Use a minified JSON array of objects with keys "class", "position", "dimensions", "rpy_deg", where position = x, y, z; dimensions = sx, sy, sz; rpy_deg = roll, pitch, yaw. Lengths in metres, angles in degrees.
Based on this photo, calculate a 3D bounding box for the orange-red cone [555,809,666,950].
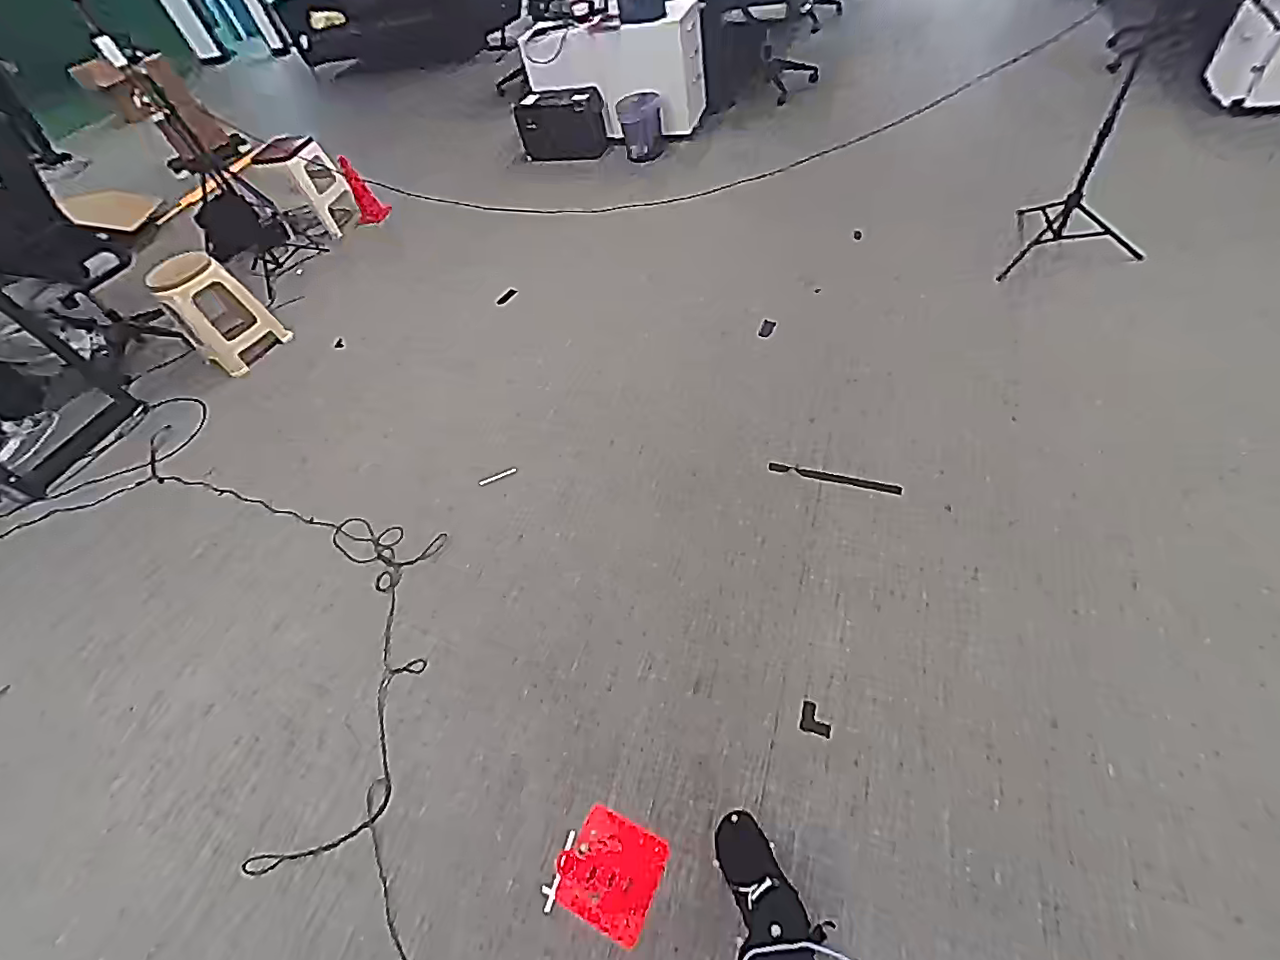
[{"class":"orange-red cone","position":[-0.091,0.747,1.027],"dimensions":[0.199,0.360,0.198],"rpy_deg":[18,59,23]}]
